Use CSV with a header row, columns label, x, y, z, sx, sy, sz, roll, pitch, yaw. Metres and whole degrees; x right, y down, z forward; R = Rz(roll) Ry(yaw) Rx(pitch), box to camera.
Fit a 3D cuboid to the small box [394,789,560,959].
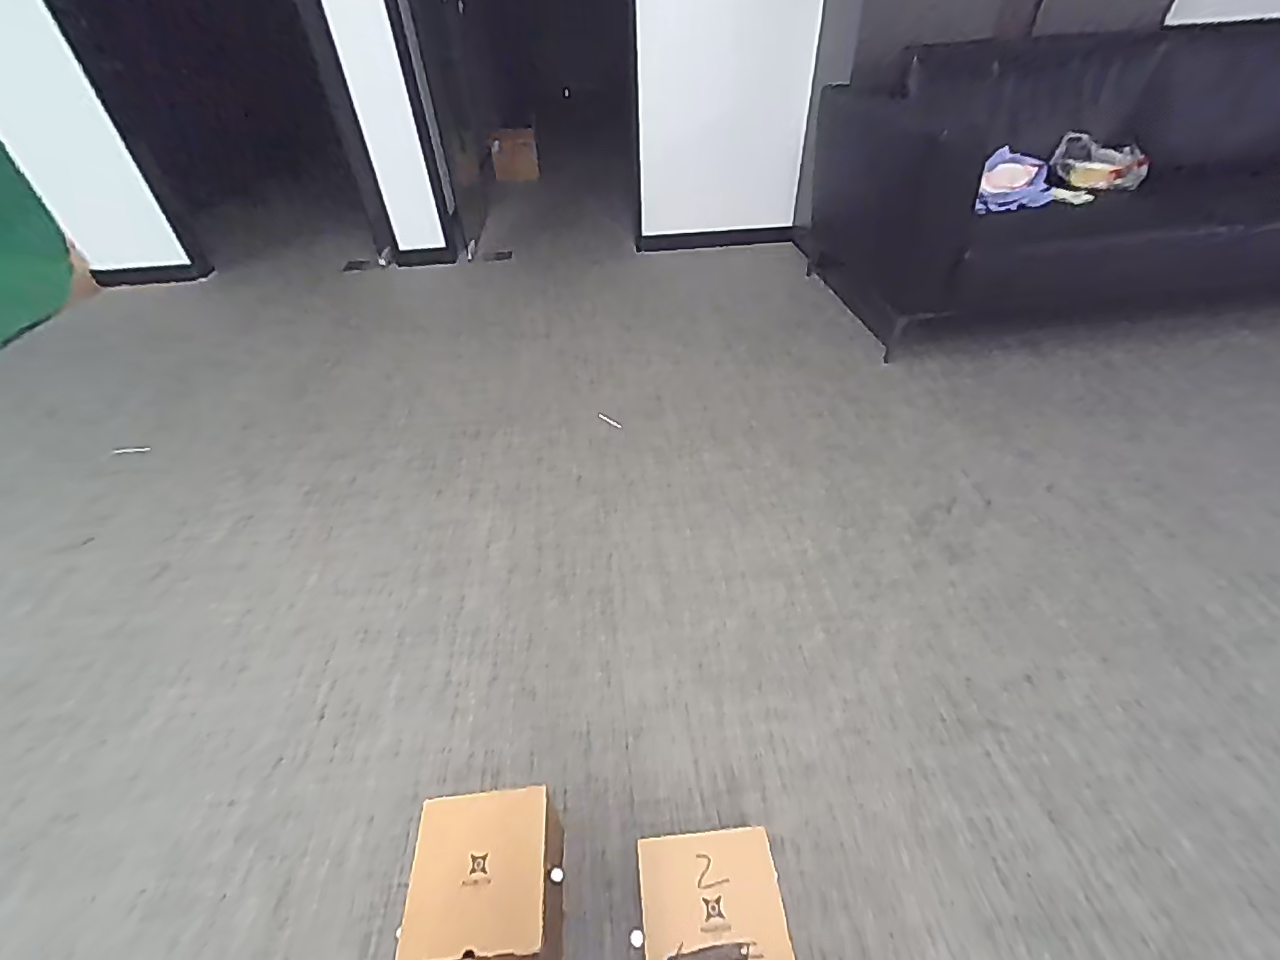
label,x,y,z,sx,sy,sz,roll,pitch,yaw
small box,-0.200,0.543,0.720,0.168,0.176,0.179,-5,41,-3
